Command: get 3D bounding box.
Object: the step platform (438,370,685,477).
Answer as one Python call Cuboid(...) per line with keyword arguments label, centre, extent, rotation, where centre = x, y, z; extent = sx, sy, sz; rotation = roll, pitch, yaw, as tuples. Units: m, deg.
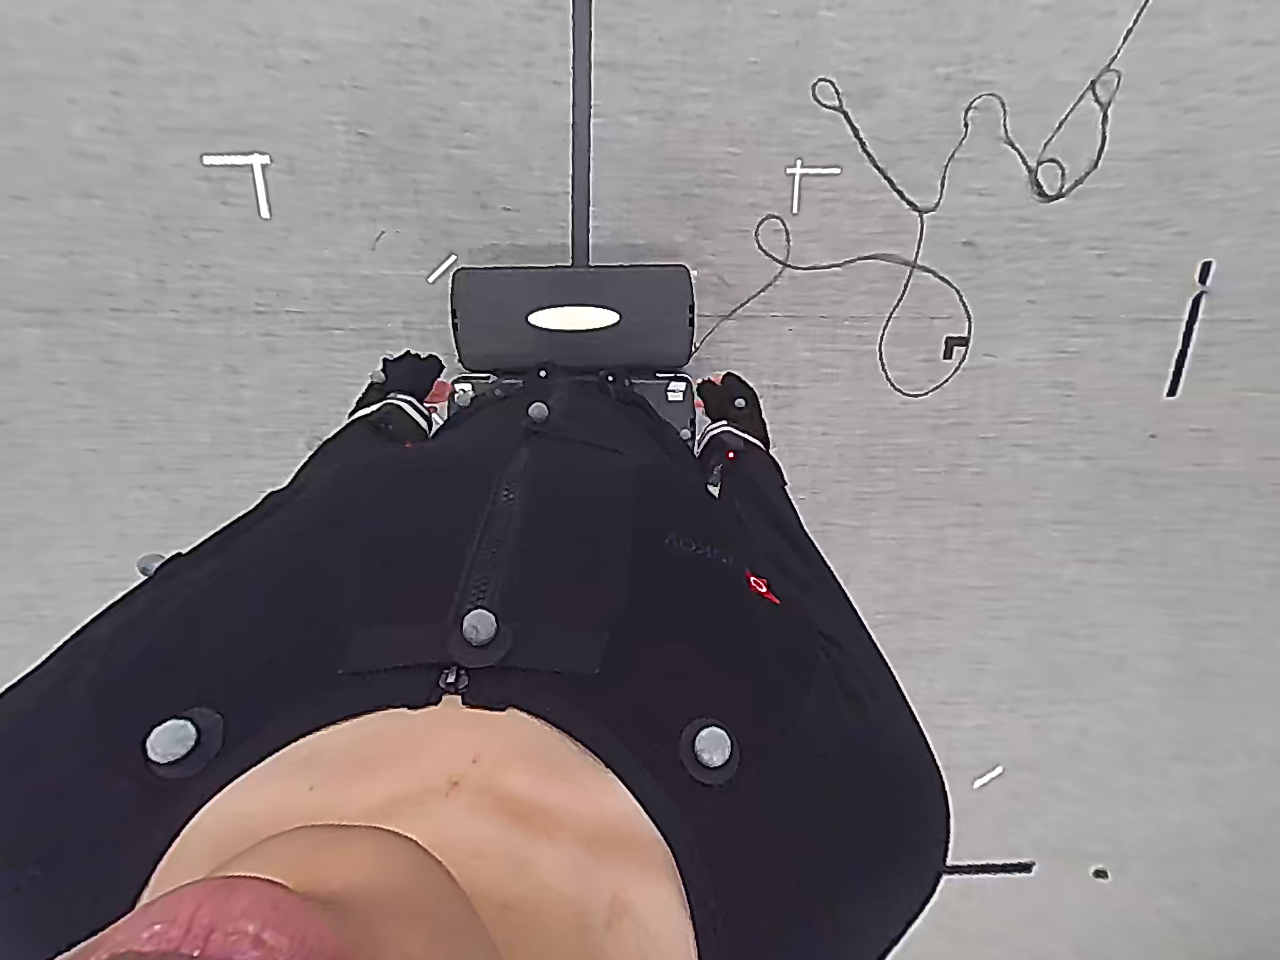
Cuboid(label="step platform", centre=(-0.213, -0.163, 1.540), extent=(0.684, 0.204, 0.286), rotation=(-1, 103, -1))
